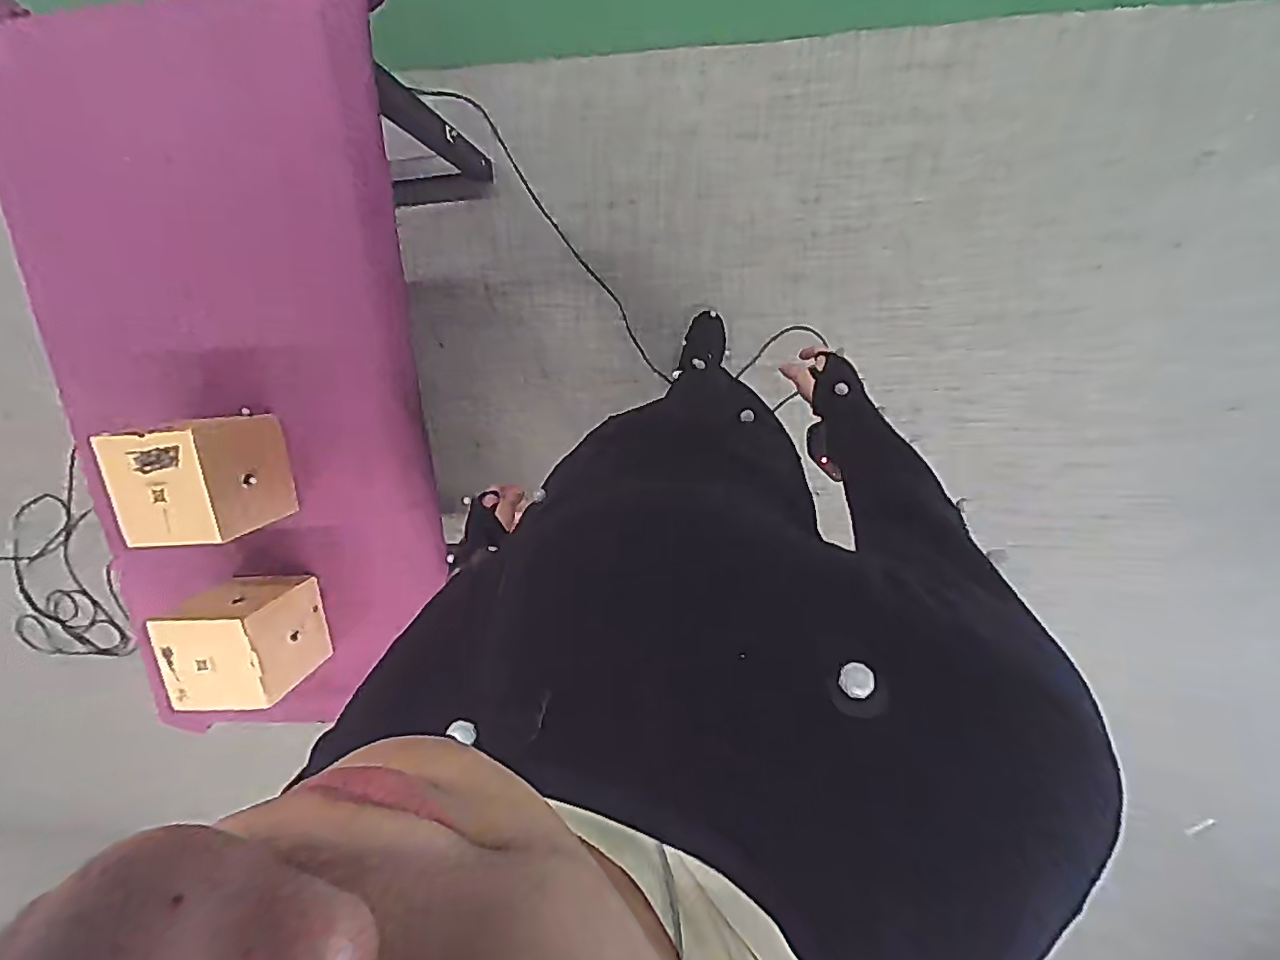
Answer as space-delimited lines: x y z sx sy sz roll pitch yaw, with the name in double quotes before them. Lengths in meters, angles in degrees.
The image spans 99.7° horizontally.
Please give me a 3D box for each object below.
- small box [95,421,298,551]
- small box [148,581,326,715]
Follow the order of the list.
"small box" -0.697 0.001 0.872 0.168 0.176 0.179 -3 105 7
"small box" -0.680 0.284 0.941 0.179 0.176 0.168 -3 103 6
